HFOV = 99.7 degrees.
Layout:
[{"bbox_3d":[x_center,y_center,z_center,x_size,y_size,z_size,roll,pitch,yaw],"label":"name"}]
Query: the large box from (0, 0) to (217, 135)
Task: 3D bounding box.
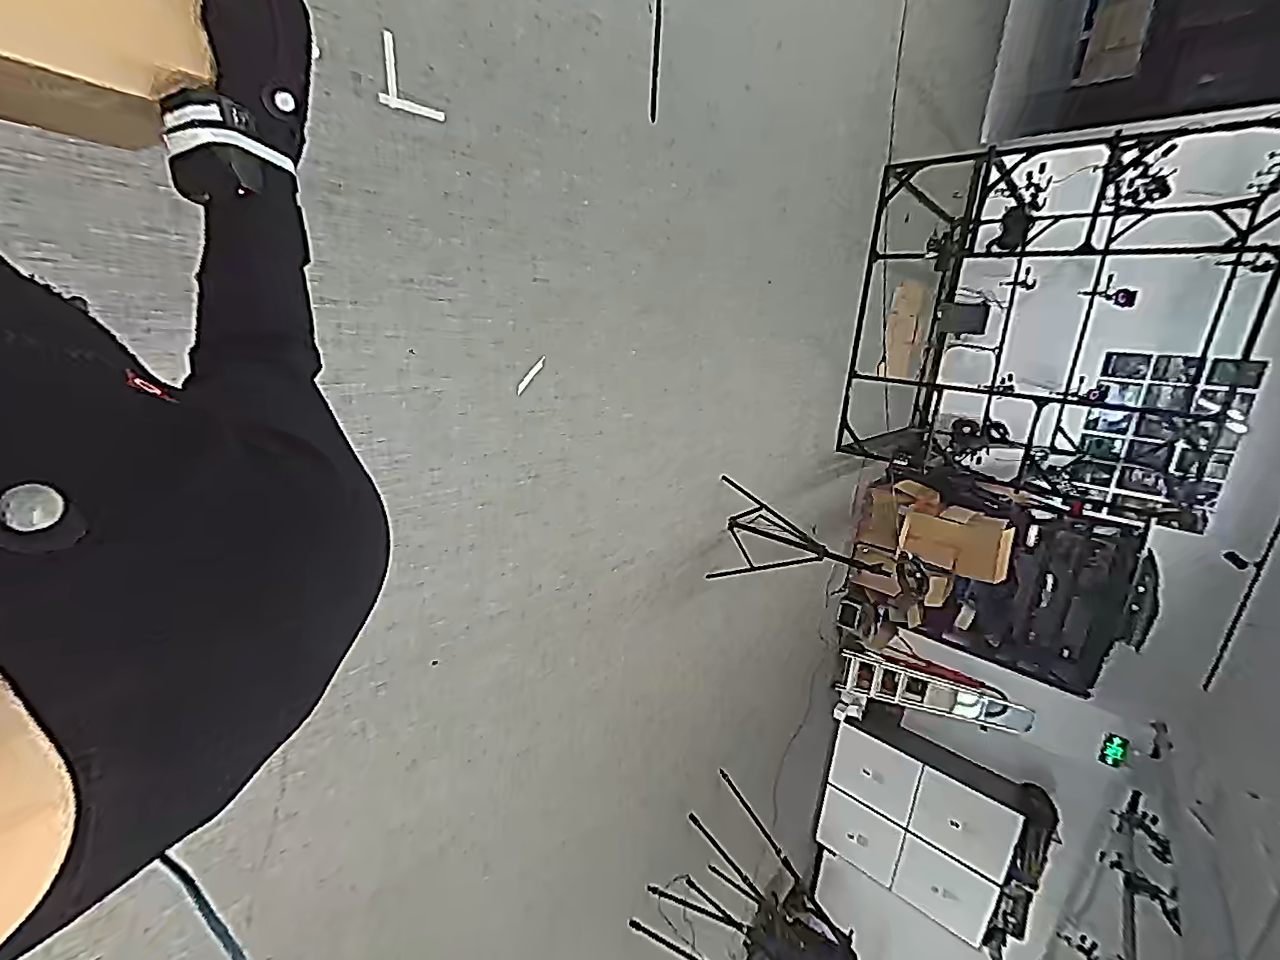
[{"bbox_3d":[-0.552,-0.450,0.316,0.408,0.320,0.320,-12,117,-50],"label":"large box"}]
